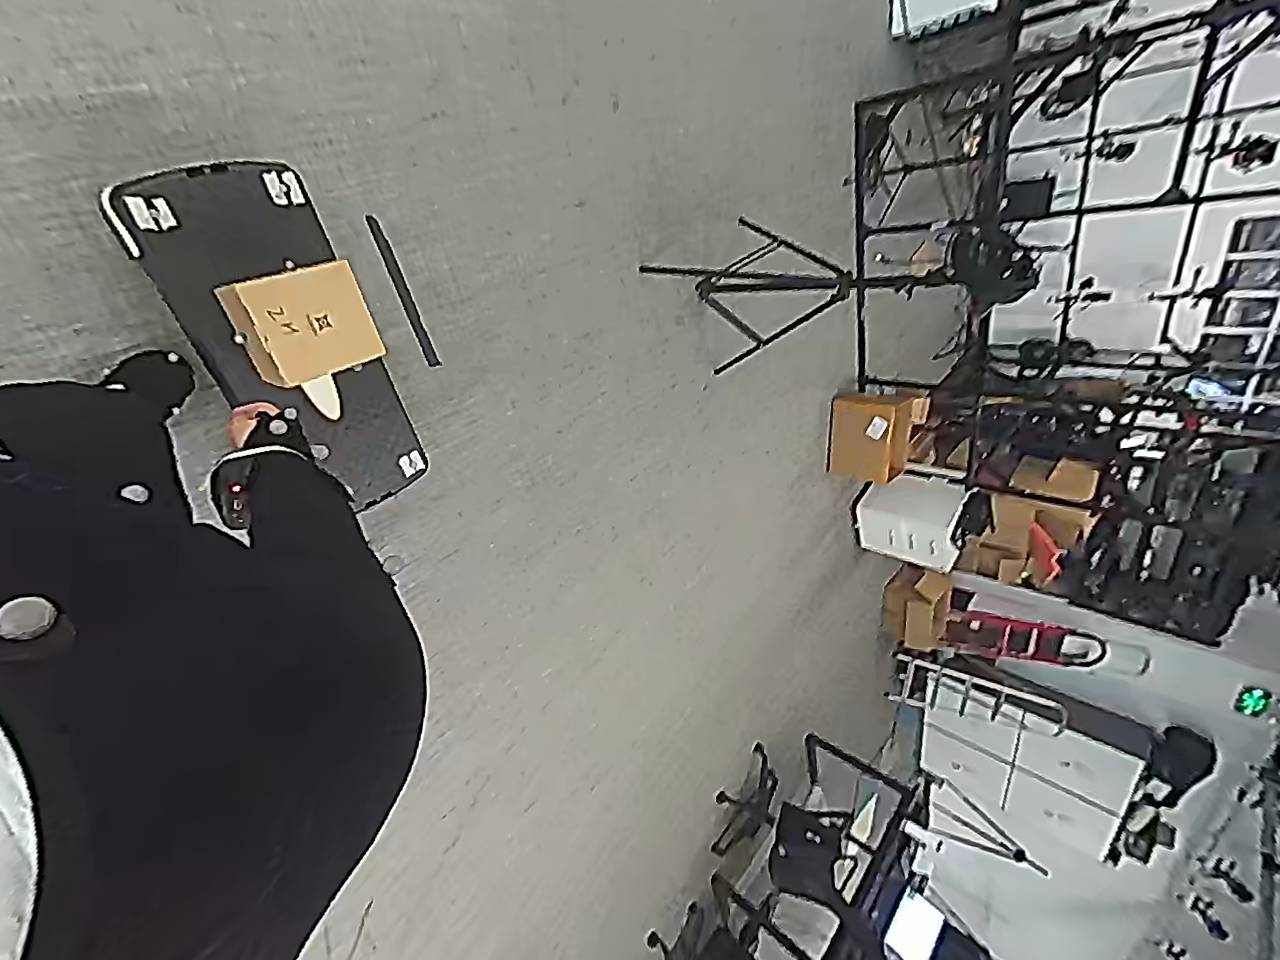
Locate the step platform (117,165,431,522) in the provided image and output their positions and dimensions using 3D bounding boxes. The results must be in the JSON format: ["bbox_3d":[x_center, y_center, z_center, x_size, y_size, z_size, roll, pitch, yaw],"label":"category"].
[{"bbox_3d":[-0.700,-0.252,1.110,0.286,0.204,0.684,-36,125,-35],"label":"step platform"}]

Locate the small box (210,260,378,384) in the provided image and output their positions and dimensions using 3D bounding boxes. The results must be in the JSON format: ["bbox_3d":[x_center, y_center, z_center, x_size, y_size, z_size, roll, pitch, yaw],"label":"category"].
[{"bbox_3d":[-0.603,-0.280,0.945,0.179,0.176,0.168,-34,124,-36],"label":"small box"}]
